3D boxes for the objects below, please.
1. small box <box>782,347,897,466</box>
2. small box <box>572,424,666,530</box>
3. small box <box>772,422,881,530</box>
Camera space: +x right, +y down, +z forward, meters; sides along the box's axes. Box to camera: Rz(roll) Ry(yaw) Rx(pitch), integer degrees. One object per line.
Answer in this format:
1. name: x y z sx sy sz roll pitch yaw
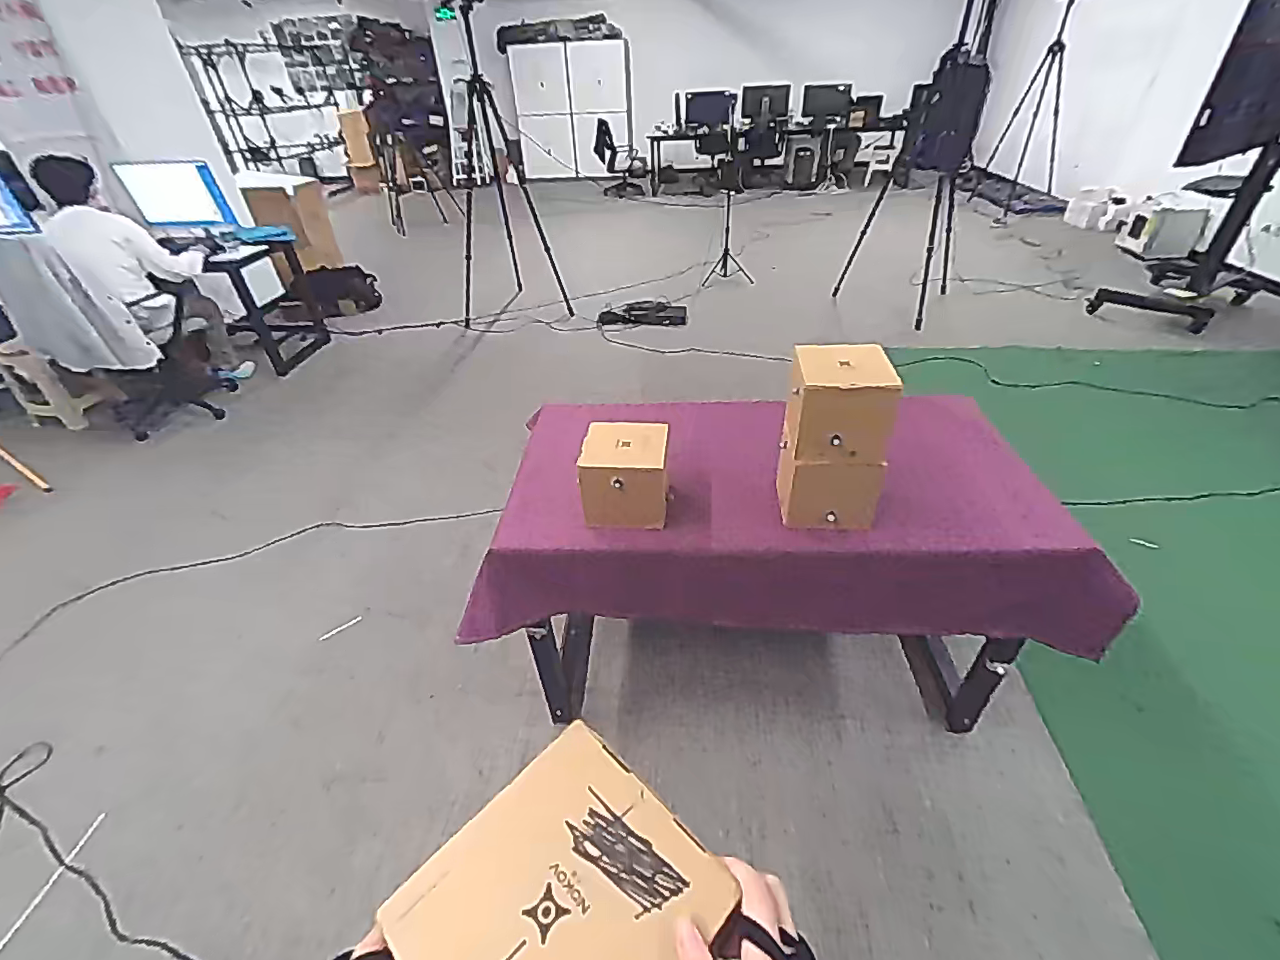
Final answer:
1. small box: 0.375 -0.146 1.054 0.168 0.176 0.179 1 38 6
2. small box: -0.037 -0.007 1.173 0.179 0.176 0.168 2 38 6
3. small box: 0.383 -0.009 1.144 0.179 0.176 0.168 1 37 5
